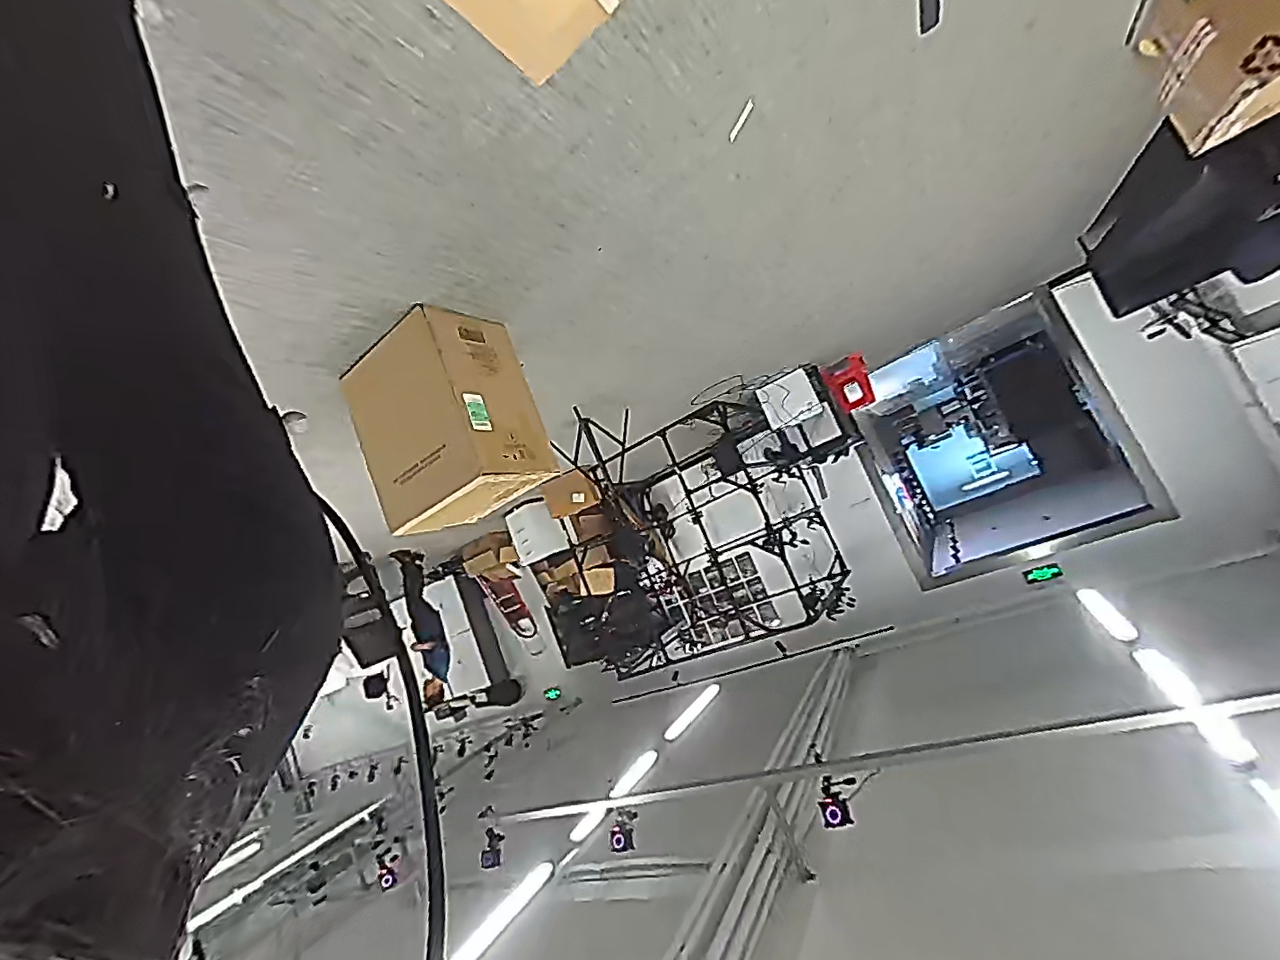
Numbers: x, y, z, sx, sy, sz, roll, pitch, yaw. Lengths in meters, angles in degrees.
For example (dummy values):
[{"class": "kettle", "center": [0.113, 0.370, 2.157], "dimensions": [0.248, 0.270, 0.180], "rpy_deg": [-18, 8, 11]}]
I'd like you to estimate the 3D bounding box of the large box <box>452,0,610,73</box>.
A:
[{"class": "large box", "center": [-0.194, -0.816, 0.624], "dimensions": [0.320, 0.320, 0.408], "rpy_deg": [-26, 173, 27]}]
